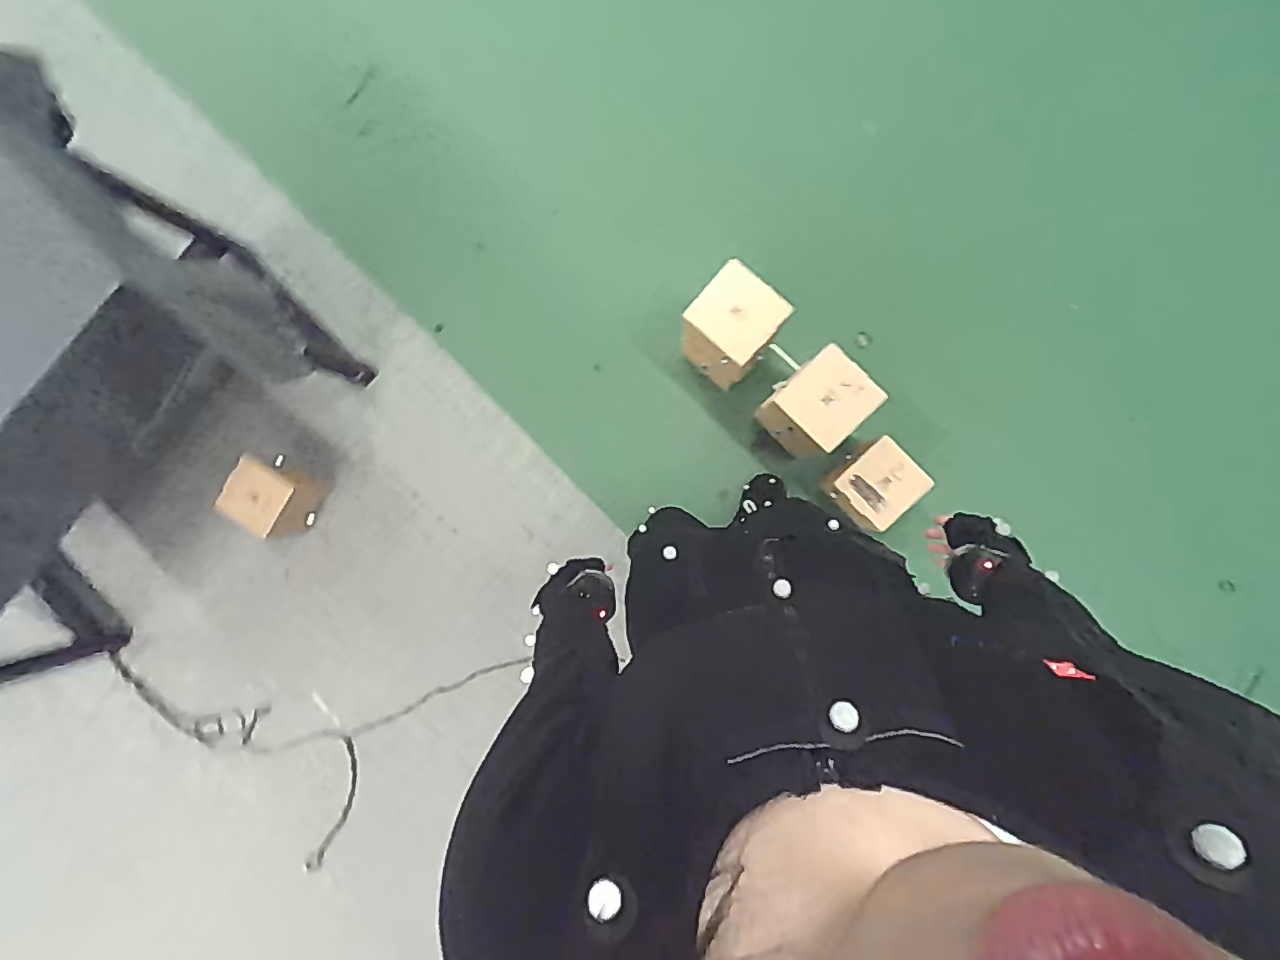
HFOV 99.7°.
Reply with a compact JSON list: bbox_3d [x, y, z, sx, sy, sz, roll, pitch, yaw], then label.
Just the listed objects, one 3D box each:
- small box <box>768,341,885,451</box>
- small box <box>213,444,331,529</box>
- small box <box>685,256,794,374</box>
[{"bbox_3d":[0.407,-0.178,1.221,0.179,0.176,0.168,-44,87,3],"label":"small box"},{"bbox_3d":[-1.019,0.020,1.509,0.179,0.176,0.168,33,93,5],"label":"small box"},{"bbox_3d":[0.219,-0.367,1.239,0.179,0.176,0.168,43,93,3],"label":"small box"}]
